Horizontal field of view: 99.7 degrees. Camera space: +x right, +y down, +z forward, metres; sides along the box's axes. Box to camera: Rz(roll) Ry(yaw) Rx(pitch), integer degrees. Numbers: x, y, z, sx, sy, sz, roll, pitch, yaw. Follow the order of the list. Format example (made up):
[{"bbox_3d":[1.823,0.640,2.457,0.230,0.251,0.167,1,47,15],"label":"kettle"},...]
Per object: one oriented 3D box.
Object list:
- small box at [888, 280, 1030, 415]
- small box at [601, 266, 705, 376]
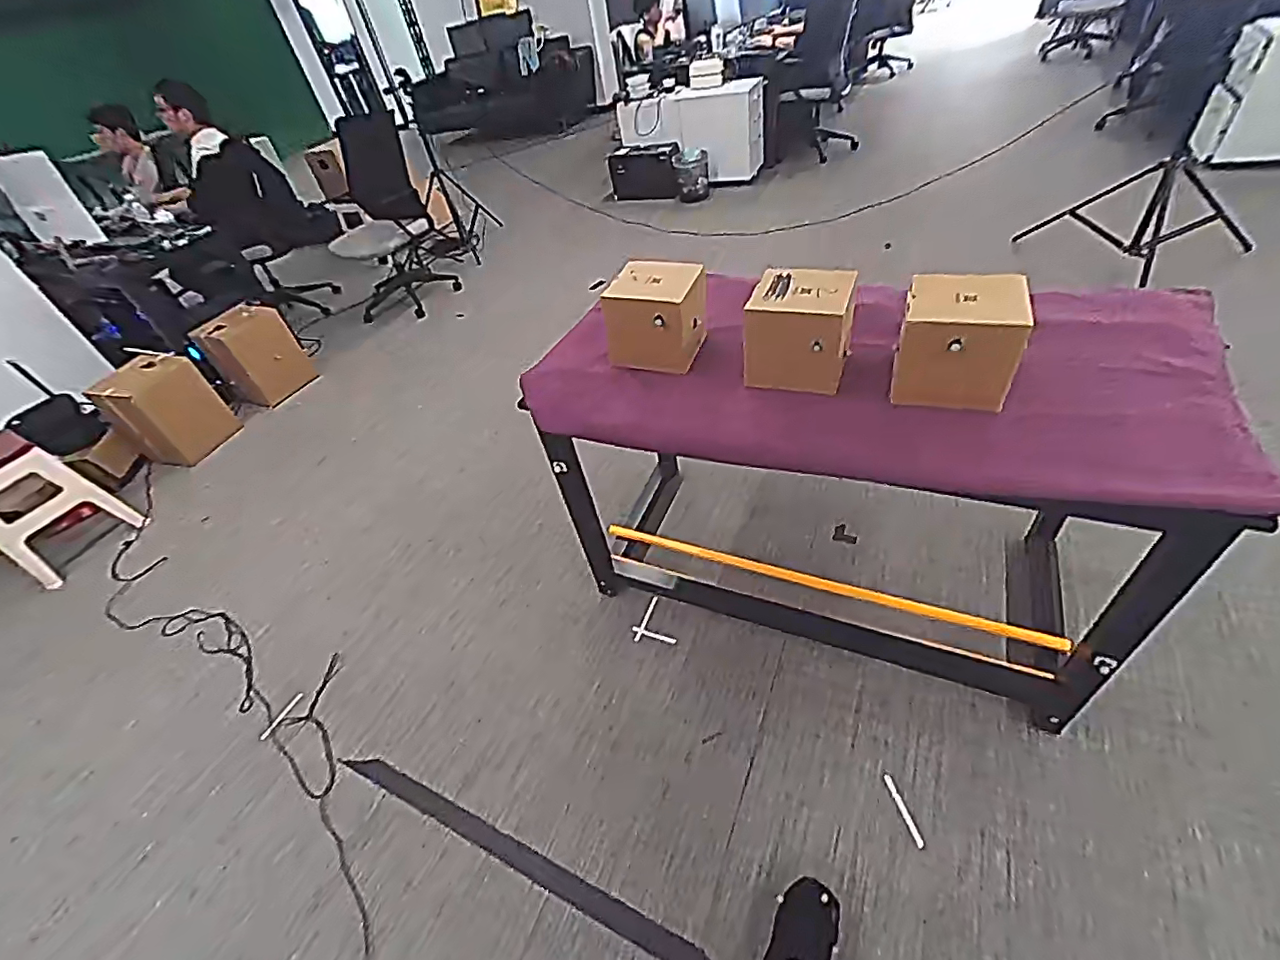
[{"bbox_3d":[0.547,-0.231,0.944,0.179,0.176,0.168,9,47,22],"label":"small box"},{"bbox_3d":[0.037,-0.343,1.172,0.179,0.176,0.168,11,48,20],"label":"small box"}]
